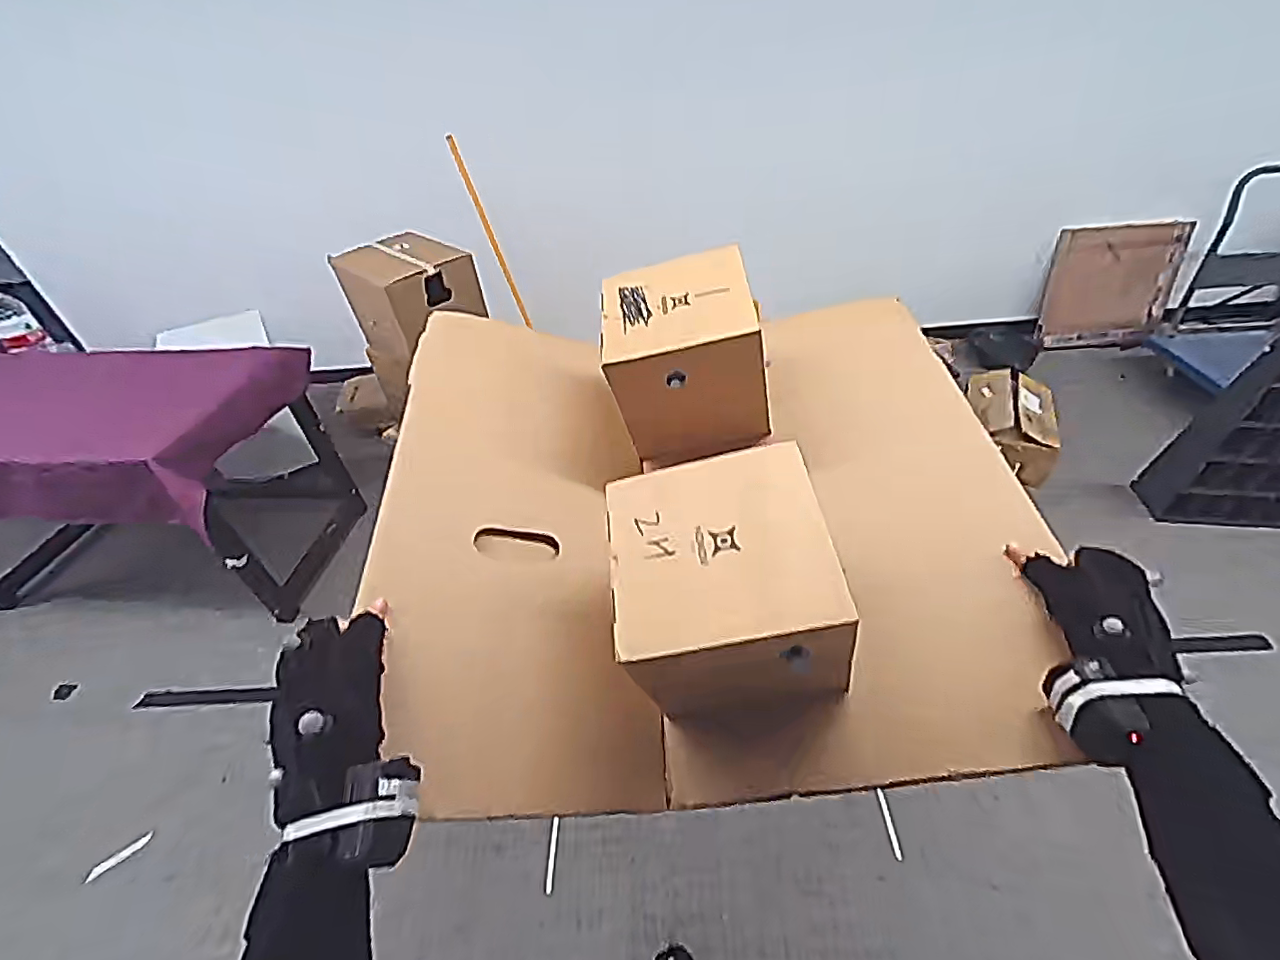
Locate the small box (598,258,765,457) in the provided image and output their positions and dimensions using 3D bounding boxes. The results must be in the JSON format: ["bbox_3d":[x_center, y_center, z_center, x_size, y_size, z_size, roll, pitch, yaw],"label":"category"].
[{"bbox_3d":[0.056,-0.148,0.697,0.179,0.176,0.168,-11,52,10],"label":"small box"}]

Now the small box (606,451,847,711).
[{"bbox_3d":[0.078,0.102,0.503,0.179,0.176,0.168,-13,51,10],"label":"small box"}]
